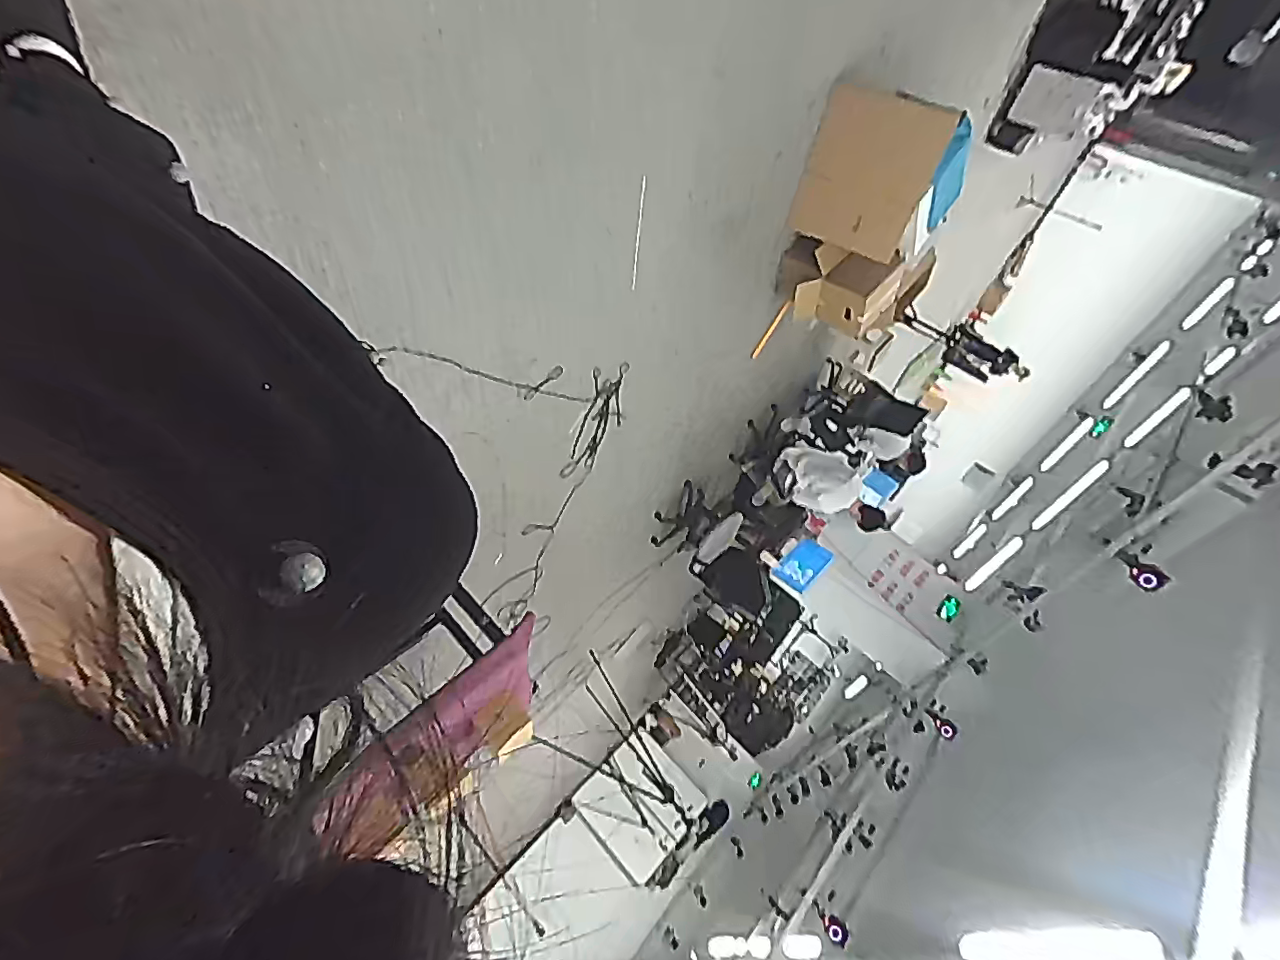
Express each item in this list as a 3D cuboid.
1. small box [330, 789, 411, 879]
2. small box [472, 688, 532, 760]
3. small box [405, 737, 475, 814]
[{"bbox_3d":[-0.907,1.188,1.825,0.179,0.176,0.168,-32,150,-37],"label":"small box"},{"bbox_3d":[-0.544,0.952,2.126,0.168,0.176,0.179,-33,150,-35],"label":"small box"},{"bbox_3d":[-0.729,1.076,1.977,0.168,0.176,0.179,-36,152,-30],"label":"small box"}]
